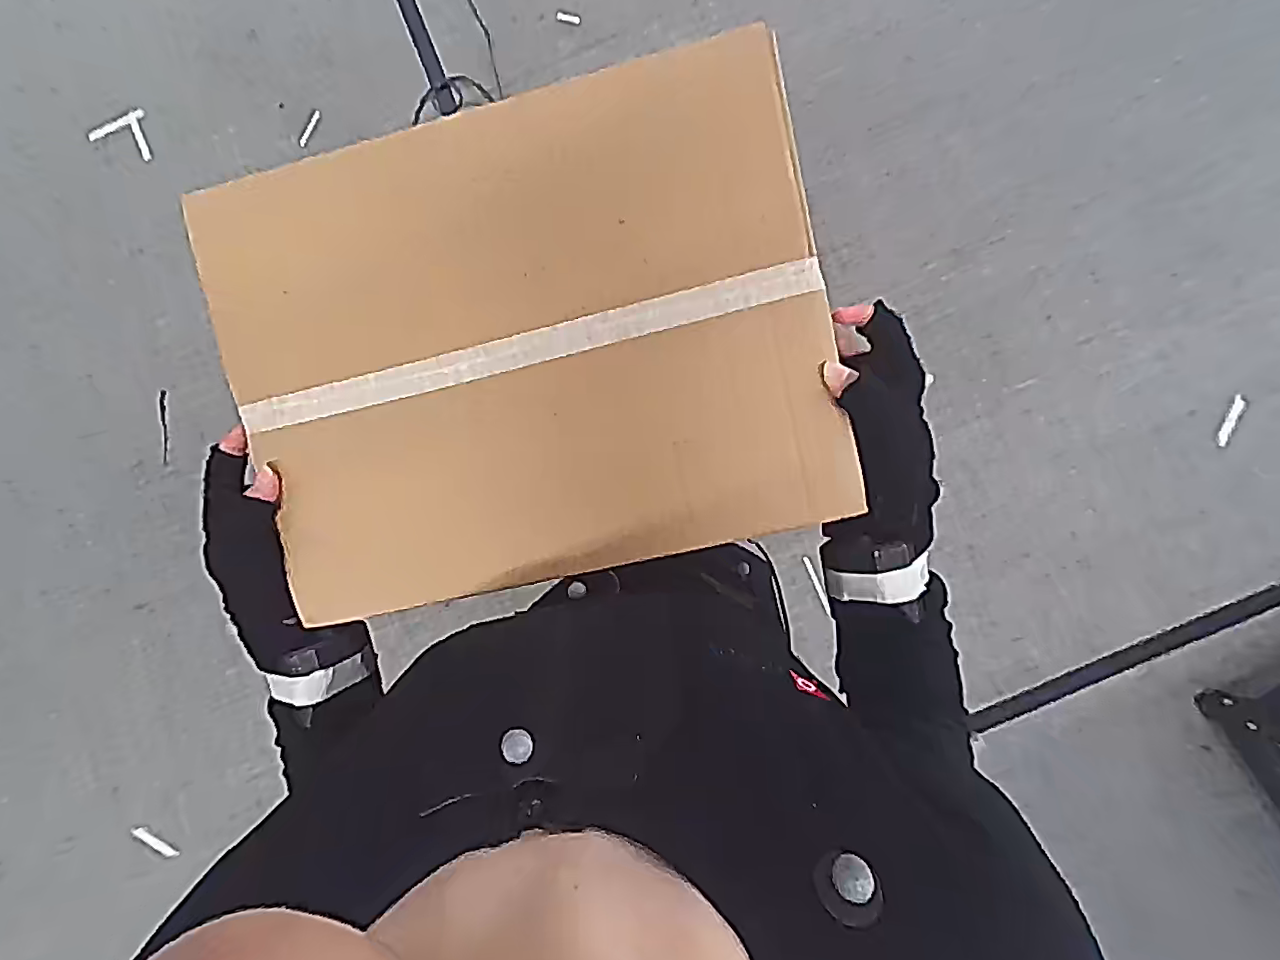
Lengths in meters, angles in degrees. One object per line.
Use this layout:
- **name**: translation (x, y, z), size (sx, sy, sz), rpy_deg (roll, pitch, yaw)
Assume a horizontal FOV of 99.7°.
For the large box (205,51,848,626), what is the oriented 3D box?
- **large box**: translation (-0.071, -0.098, 0.522), size (0.408, 0.320, 0.320), rpy_deg (-13, 94, 6)
